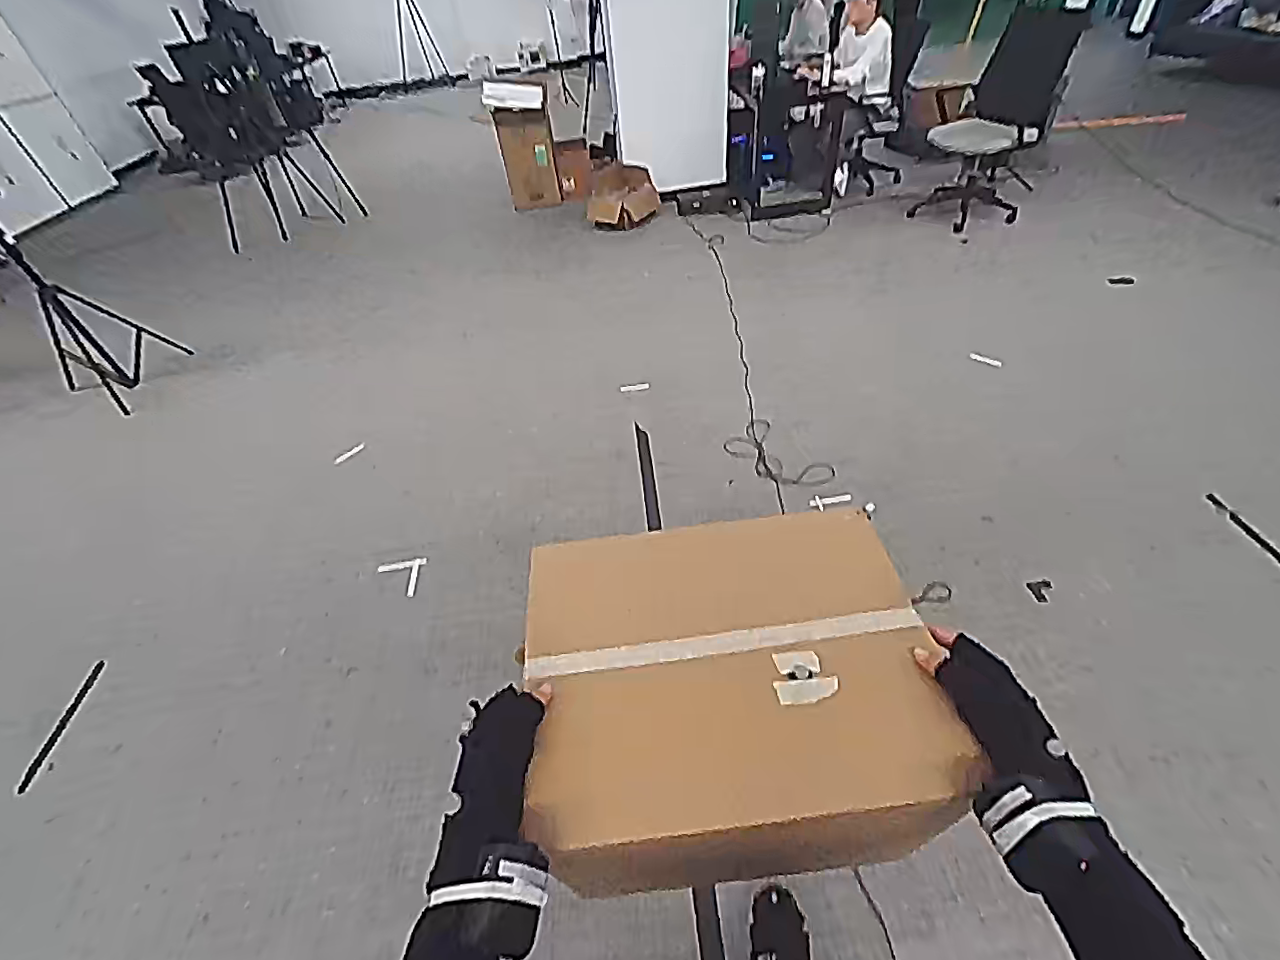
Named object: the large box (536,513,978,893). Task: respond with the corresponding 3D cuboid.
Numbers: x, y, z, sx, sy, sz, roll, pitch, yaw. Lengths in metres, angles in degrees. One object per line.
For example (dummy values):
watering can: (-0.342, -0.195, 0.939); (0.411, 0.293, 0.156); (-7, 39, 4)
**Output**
large box: (0.098, 0.279, 0.679); (0.408, 0.320, 0.320); (-7, 47, -1)
